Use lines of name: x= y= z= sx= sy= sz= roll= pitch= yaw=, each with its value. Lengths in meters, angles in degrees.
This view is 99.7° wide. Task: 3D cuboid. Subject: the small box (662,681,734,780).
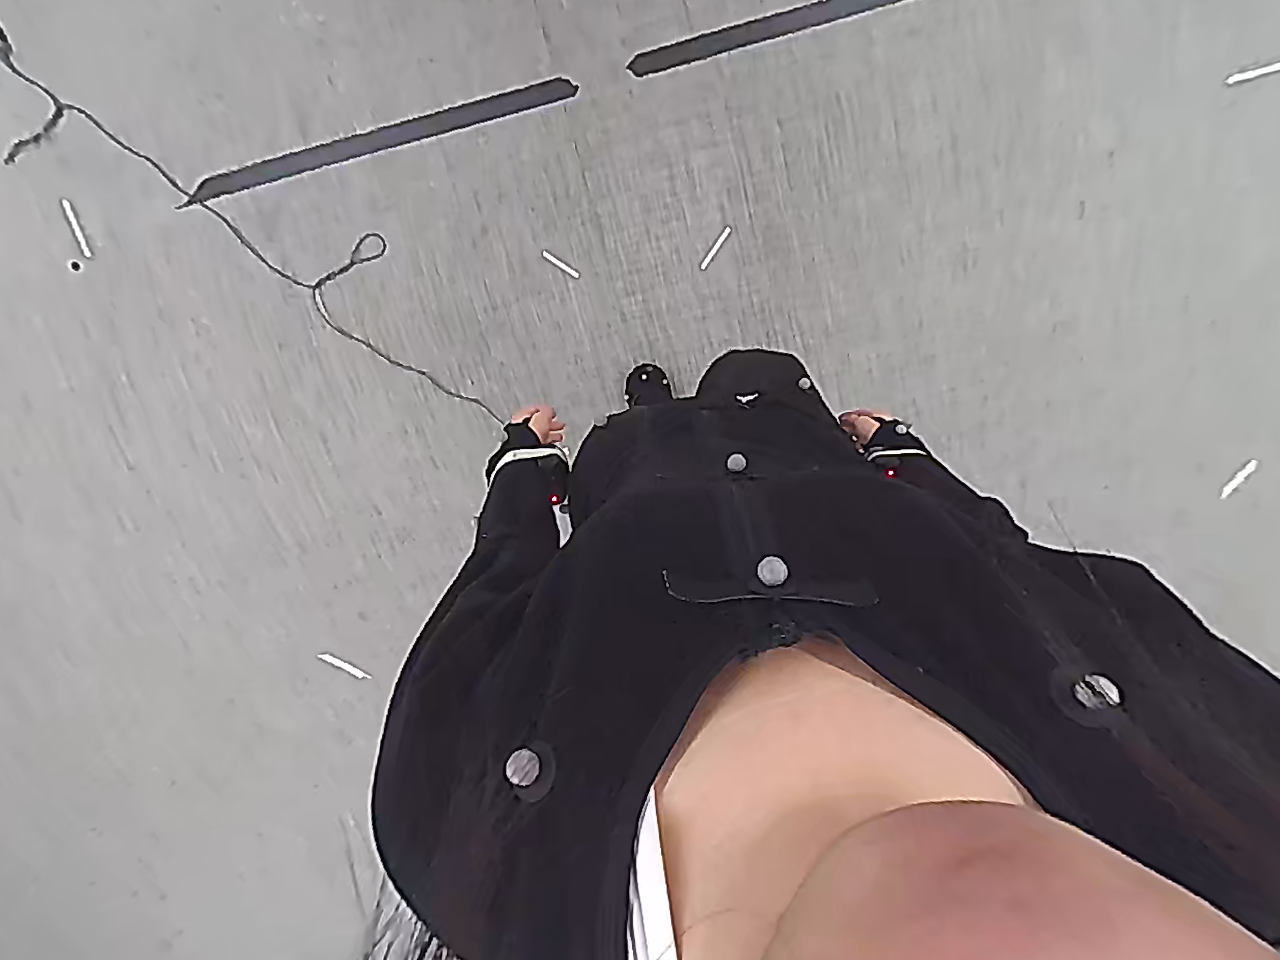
small box: x=0.164 y=0.721 z=1.568 sx=0.168 sy=0.176 sz=0.179 roll=-16 pitch=102 yaw=3
